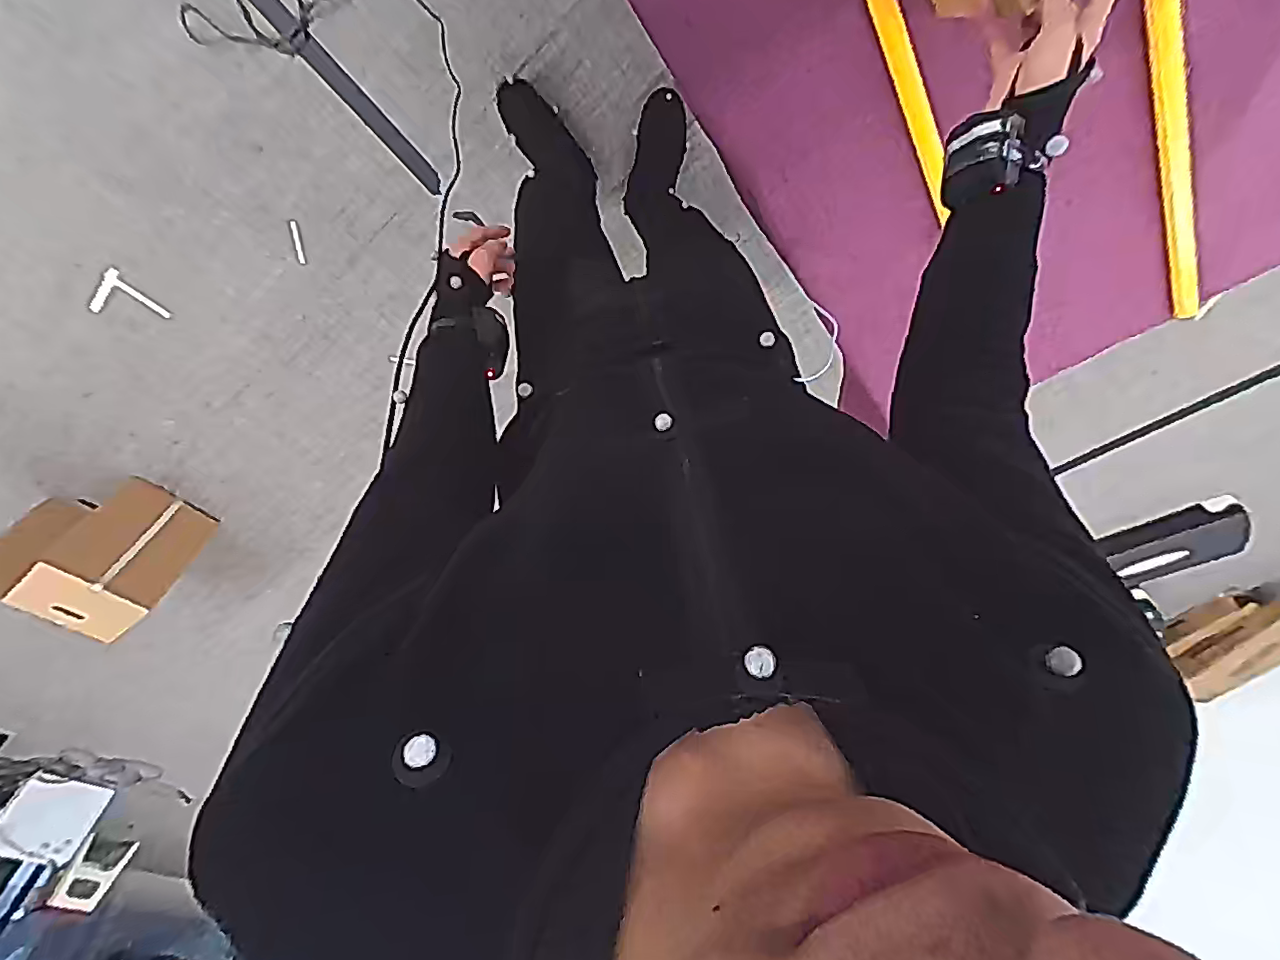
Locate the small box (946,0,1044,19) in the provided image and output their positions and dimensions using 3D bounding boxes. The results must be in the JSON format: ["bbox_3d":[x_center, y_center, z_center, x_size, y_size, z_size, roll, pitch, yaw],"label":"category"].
[{"bbox_3d":[0.313,-0.522,0.426,0.168,0.176,0.179,-36,124,27],"label":"small box"}]
